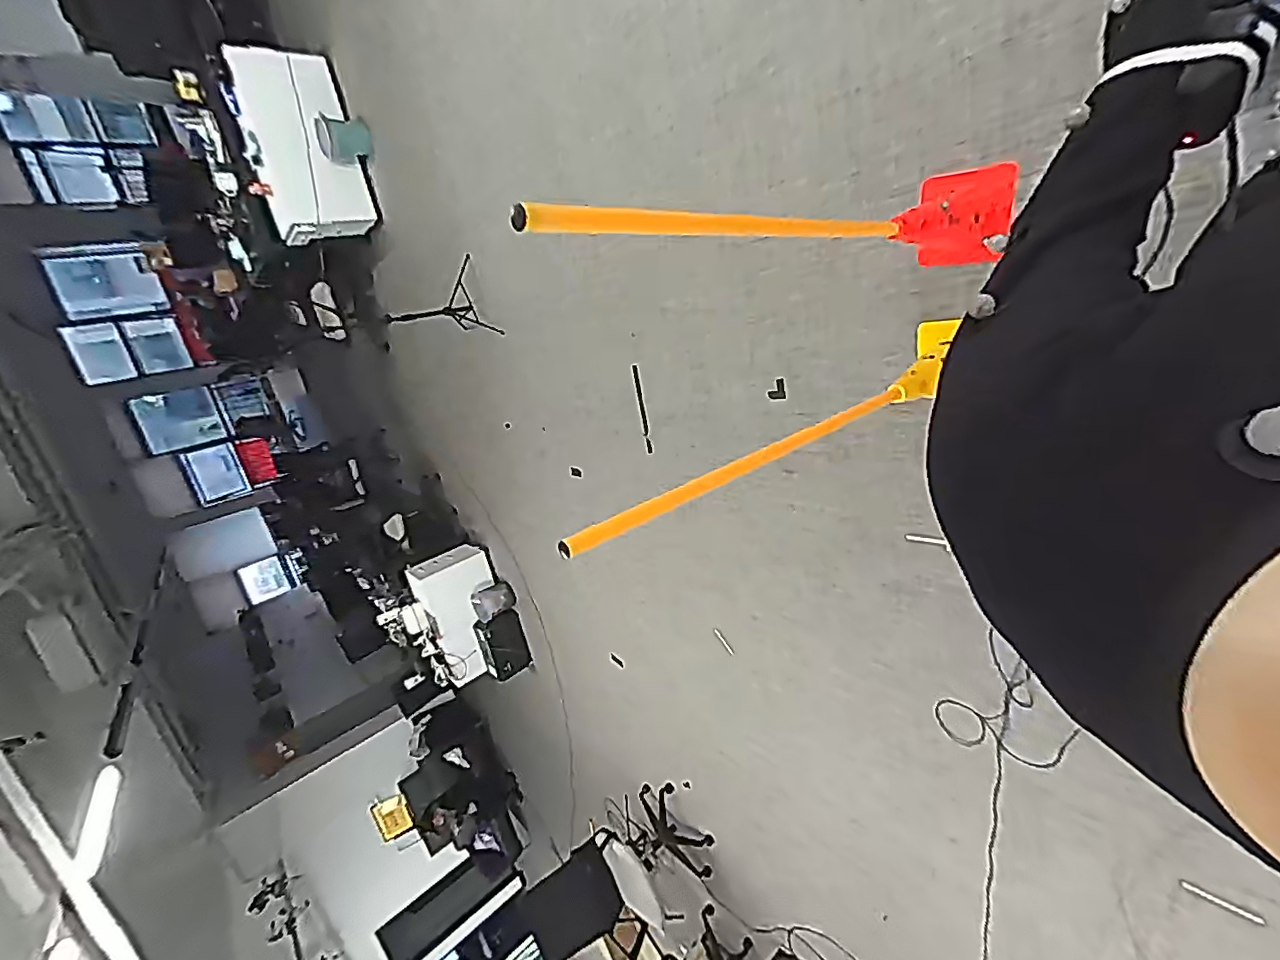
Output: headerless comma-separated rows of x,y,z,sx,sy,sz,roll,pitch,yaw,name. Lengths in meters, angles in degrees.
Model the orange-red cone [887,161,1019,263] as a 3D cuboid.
0.624,-0.556,1.148,0.198,0.360,0.199,18,122,46,orange-red cone
